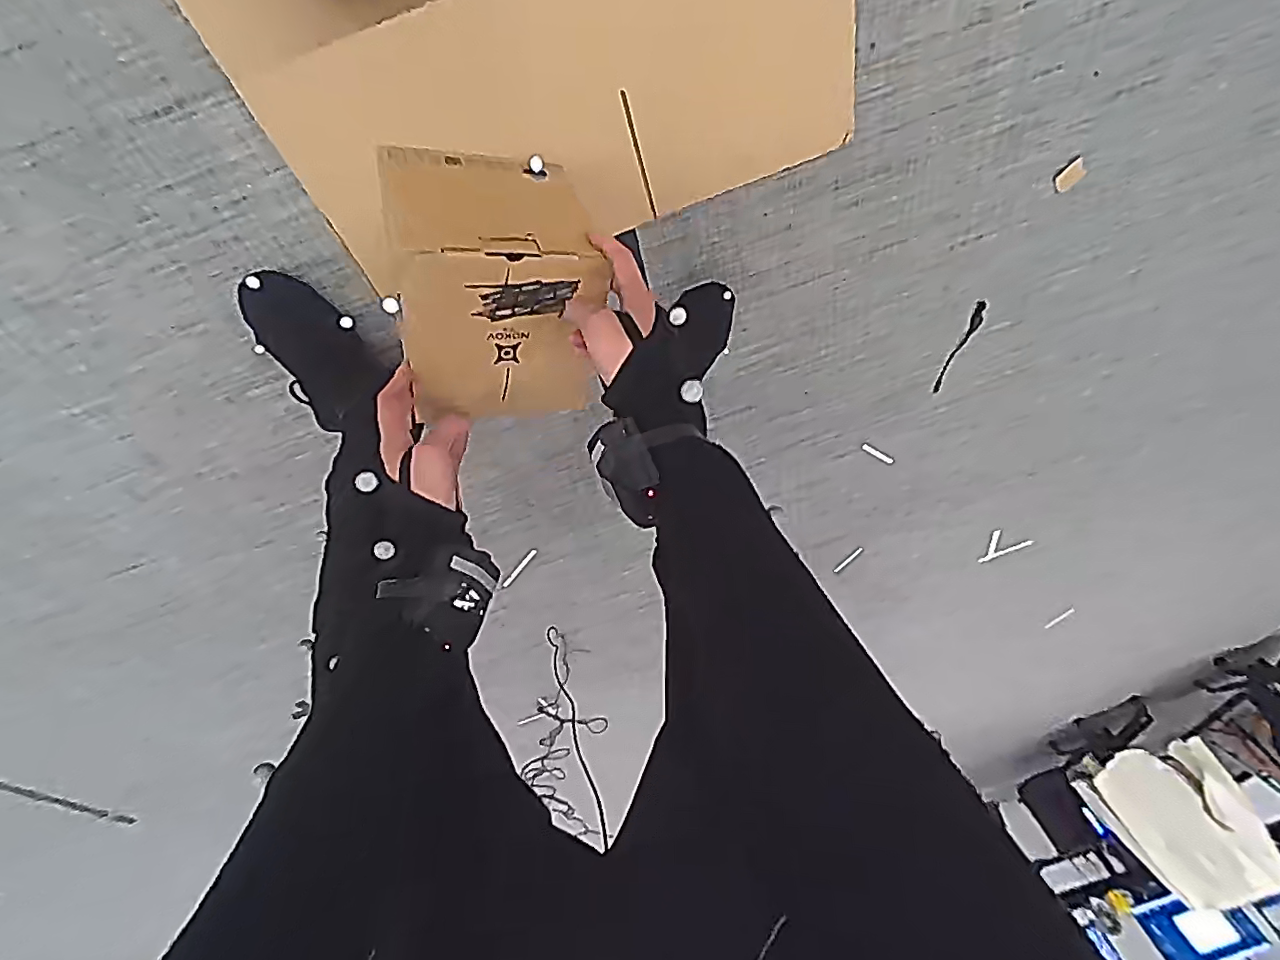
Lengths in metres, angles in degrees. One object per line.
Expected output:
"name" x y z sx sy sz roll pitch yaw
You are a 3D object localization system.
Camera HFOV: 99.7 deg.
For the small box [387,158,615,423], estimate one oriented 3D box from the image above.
"small box" -0.140 -0.180 0.519 0.168 0.176 0.179 -8 144 -23
